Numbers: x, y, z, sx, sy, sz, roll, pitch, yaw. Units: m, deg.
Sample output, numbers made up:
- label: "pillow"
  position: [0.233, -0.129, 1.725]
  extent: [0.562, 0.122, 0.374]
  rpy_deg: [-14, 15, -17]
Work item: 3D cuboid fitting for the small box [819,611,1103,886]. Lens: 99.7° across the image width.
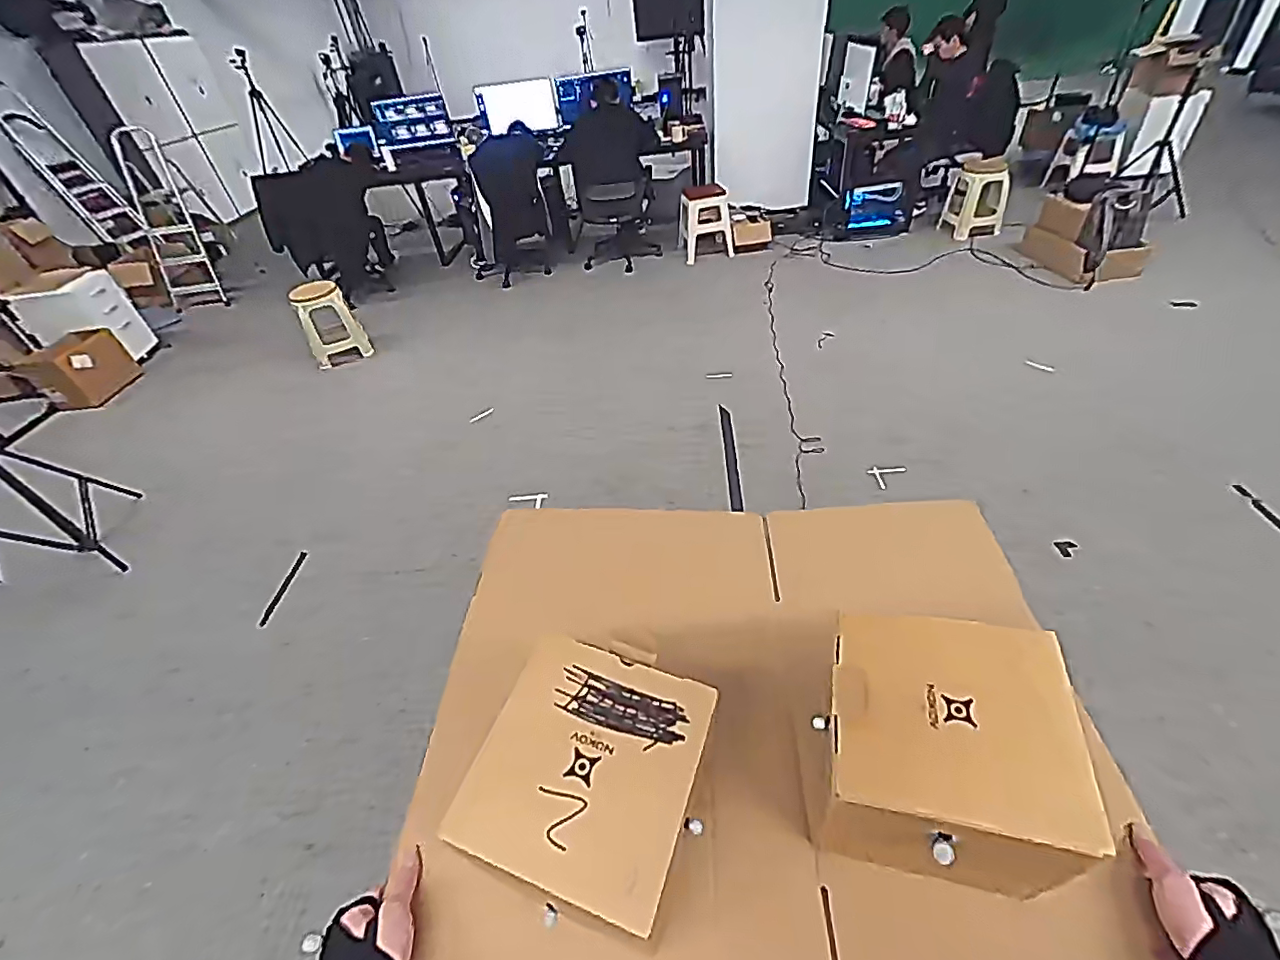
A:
- label: "small box"
  position: [0.263, 0.244, 0.494]
  extent: [0.179, 0.176, 0.168]
  rpy_deg: [3, 46, 18]
